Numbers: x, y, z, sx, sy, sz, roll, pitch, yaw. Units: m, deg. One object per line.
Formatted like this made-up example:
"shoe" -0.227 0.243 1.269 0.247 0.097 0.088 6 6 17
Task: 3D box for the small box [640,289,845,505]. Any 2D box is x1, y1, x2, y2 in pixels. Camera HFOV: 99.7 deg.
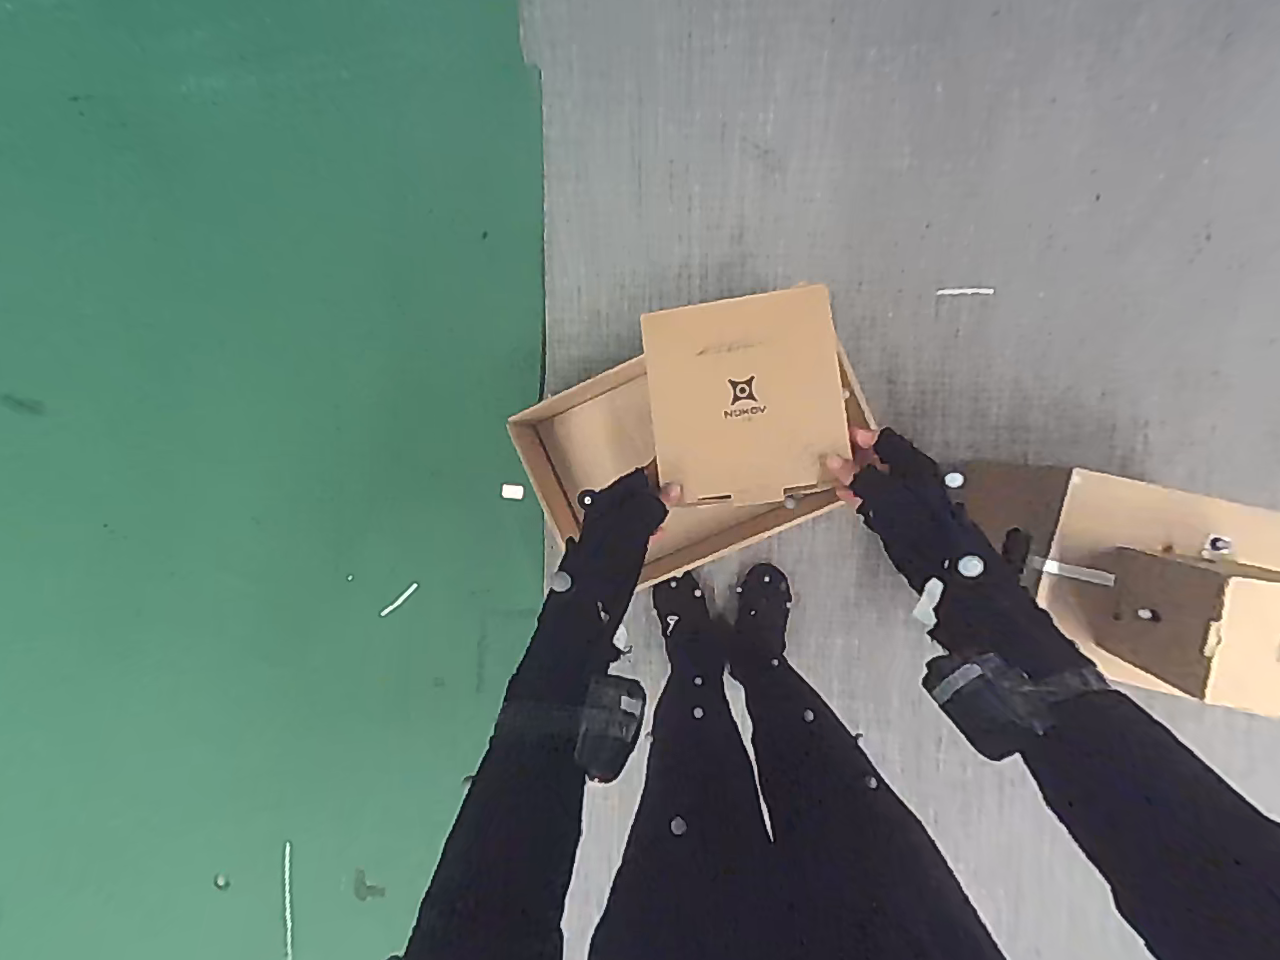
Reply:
"small box" 0.101 -0.068 0.555 0.168 0.176 0.179 -7 85 8

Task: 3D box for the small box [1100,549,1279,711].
"small box" 0.794 0.198 0.744 0.179 0.176 0.168 8 96 5
